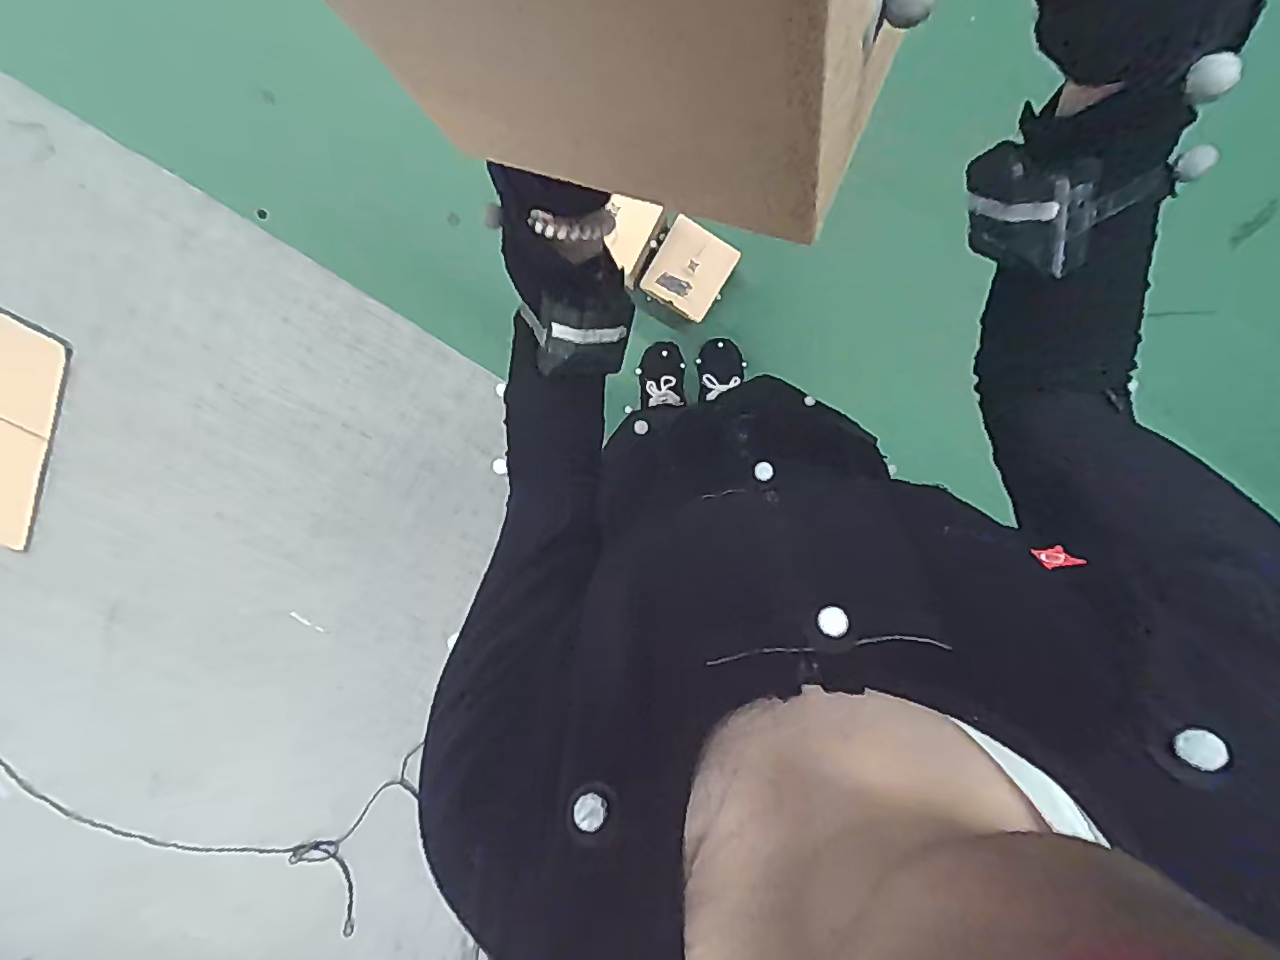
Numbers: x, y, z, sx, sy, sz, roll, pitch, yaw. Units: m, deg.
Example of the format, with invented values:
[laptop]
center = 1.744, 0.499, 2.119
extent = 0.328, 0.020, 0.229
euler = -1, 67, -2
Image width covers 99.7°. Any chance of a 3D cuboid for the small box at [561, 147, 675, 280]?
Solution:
[small box]
center = -0.043, -0.532, 1.108
extent = 0.168, 0.176, 0.179
euler = 28, 106, -7
